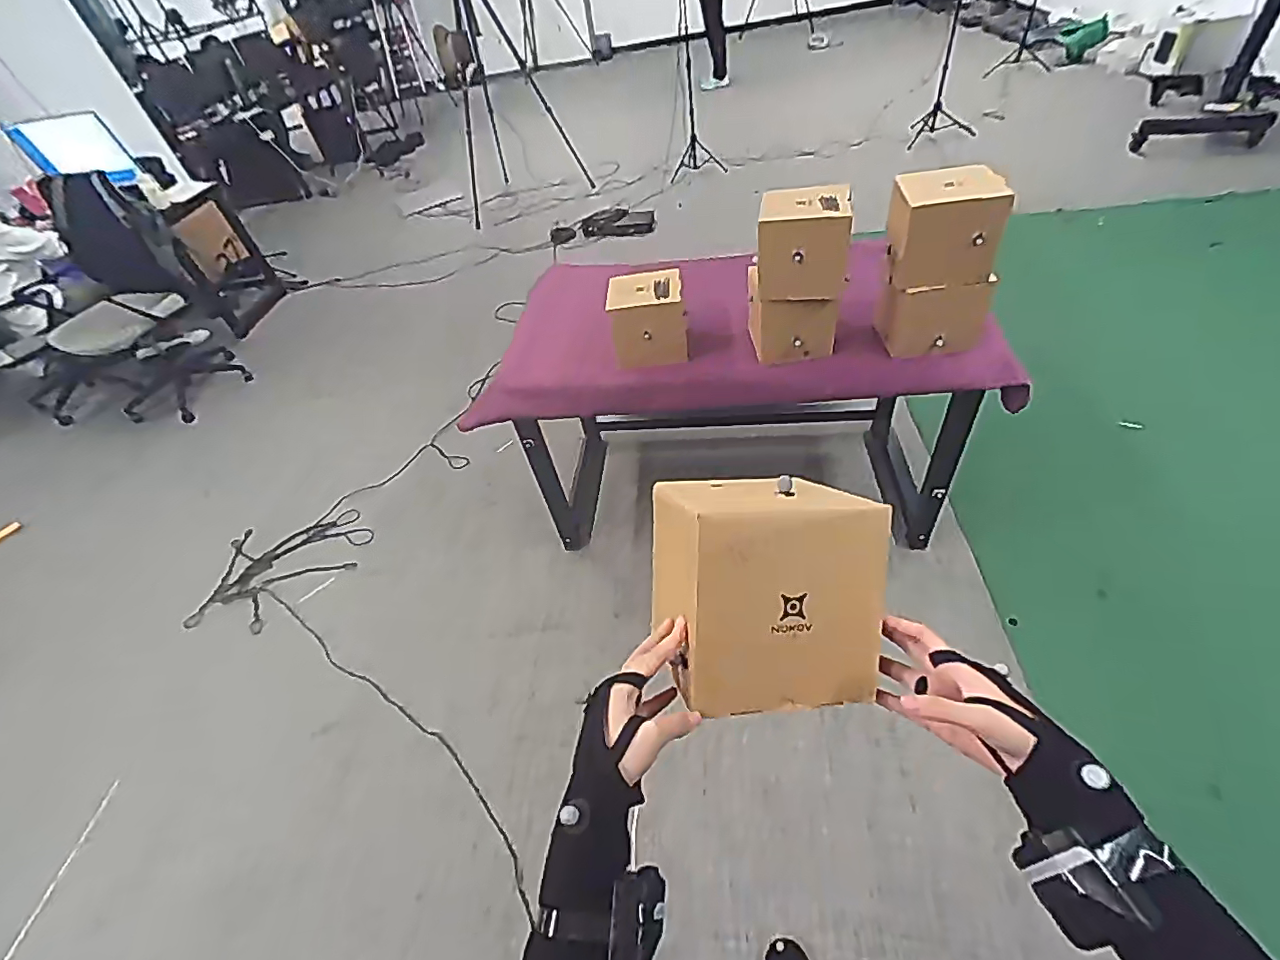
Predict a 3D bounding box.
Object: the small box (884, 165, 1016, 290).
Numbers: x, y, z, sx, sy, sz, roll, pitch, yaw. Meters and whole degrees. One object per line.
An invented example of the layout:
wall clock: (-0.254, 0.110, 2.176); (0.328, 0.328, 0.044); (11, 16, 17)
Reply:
small box: (0.606, -0.502, 1.083); (0.179, 0.176, 0.168); (-2, 47, 12)

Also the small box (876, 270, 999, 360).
small box: (0.643, -0.386, 1.193); (0.179, 0.176, 0.168); (-5, 46, 8)

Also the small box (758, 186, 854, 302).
small box: (0.342, -0.486, 1.126); (0.179, 0.176, 0.168); (3, 46, 17)

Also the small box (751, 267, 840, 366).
small box: (0.353, -0.390, 1.261); (0.168, 0.176, 0.179); (-7, 45, 6)
